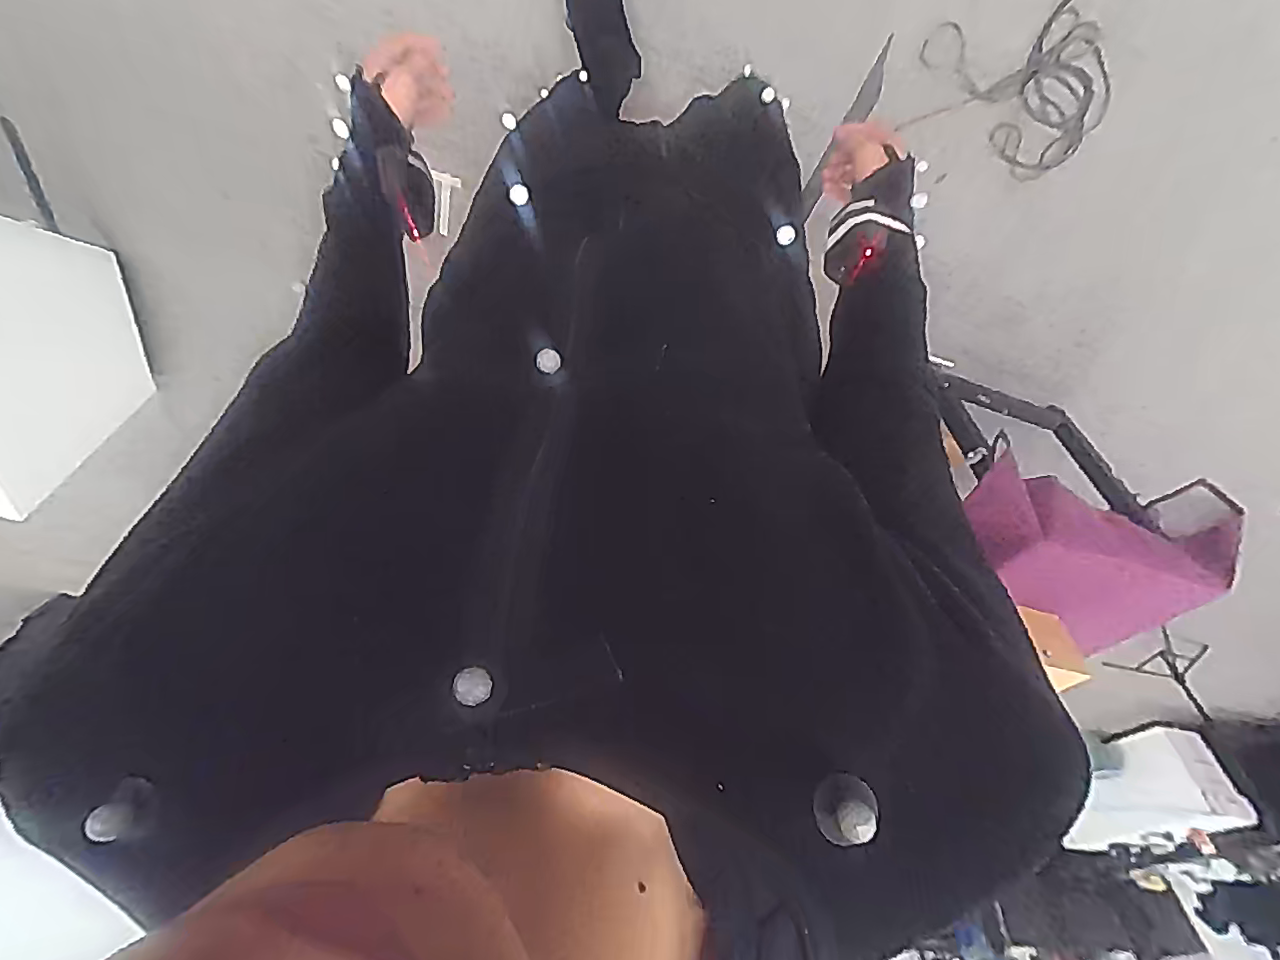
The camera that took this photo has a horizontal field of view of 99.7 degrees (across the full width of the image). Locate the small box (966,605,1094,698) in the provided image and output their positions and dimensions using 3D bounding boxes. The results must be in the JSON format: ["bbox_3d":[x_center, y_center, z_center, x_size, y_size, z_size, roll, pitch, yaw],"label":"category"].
[{"bbox_3d":[1.002,0.443,1.403,0.179,0.176,0.168,15,135,-14],"label":"small box"}]
